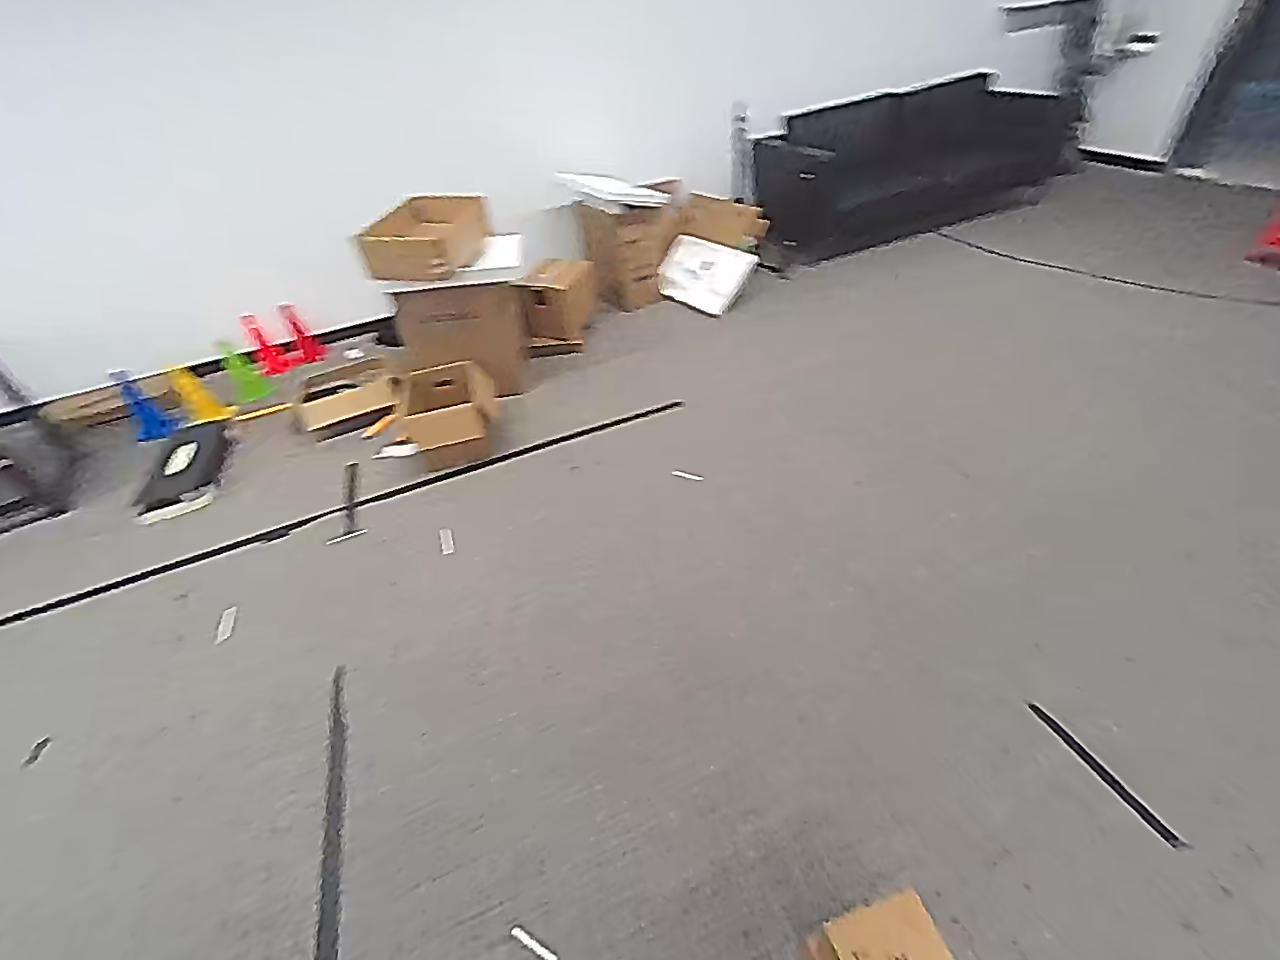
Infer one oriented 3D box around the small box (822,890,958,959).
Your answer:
[{"bbox_3d":[0.430,0.836,0.912,0.179,0.176,0.168,-16,40,-8],"label":"small box"}]
